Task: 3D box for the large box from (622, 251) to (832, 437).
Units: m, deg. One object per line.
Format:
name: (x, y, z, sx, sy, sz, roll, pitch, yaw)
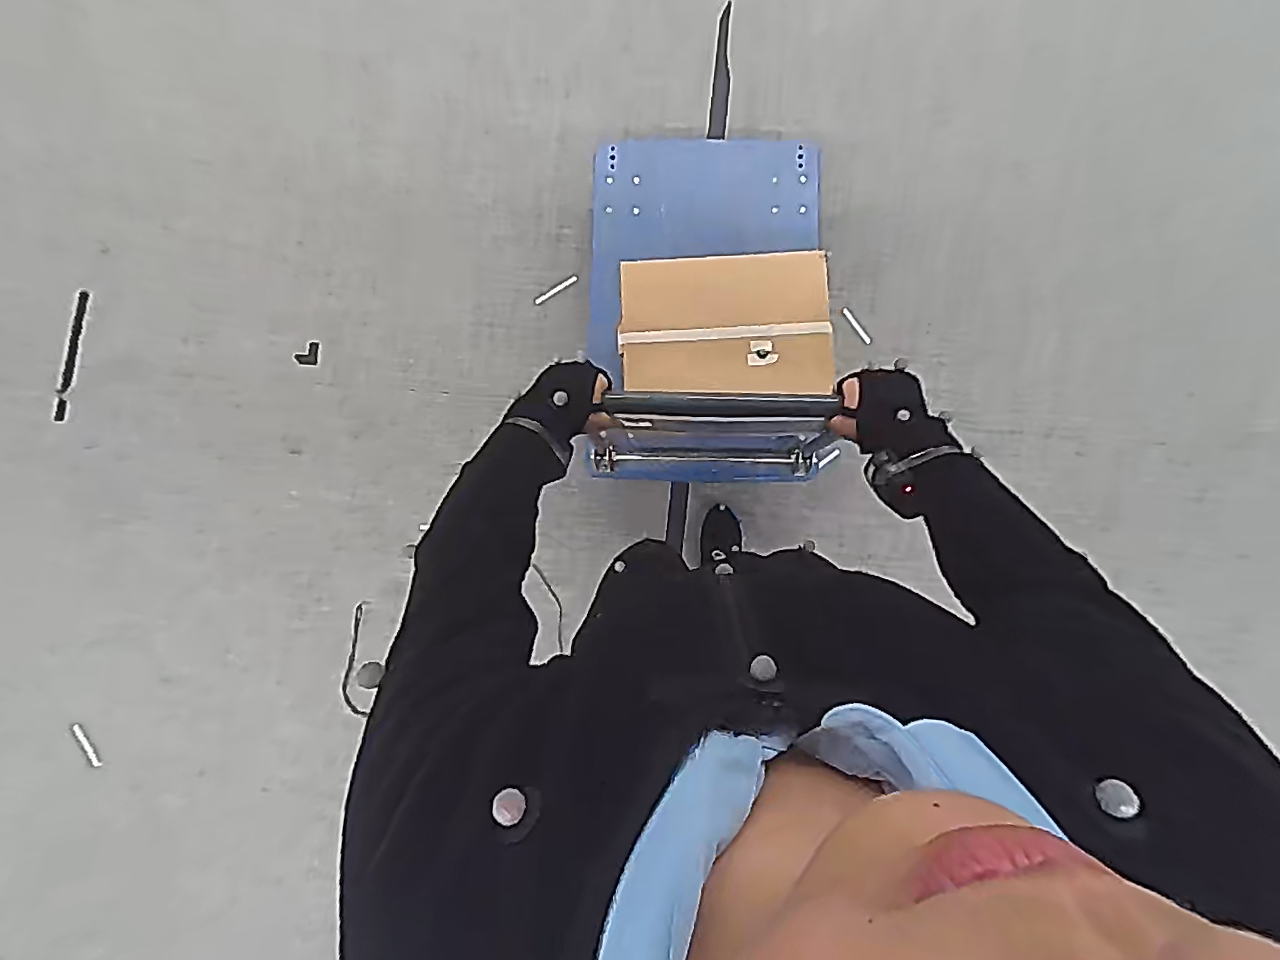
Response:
large box: (0.173, -0.280, 1.212, 0.408, 0.320, 0.320, -2, 86, 2)
